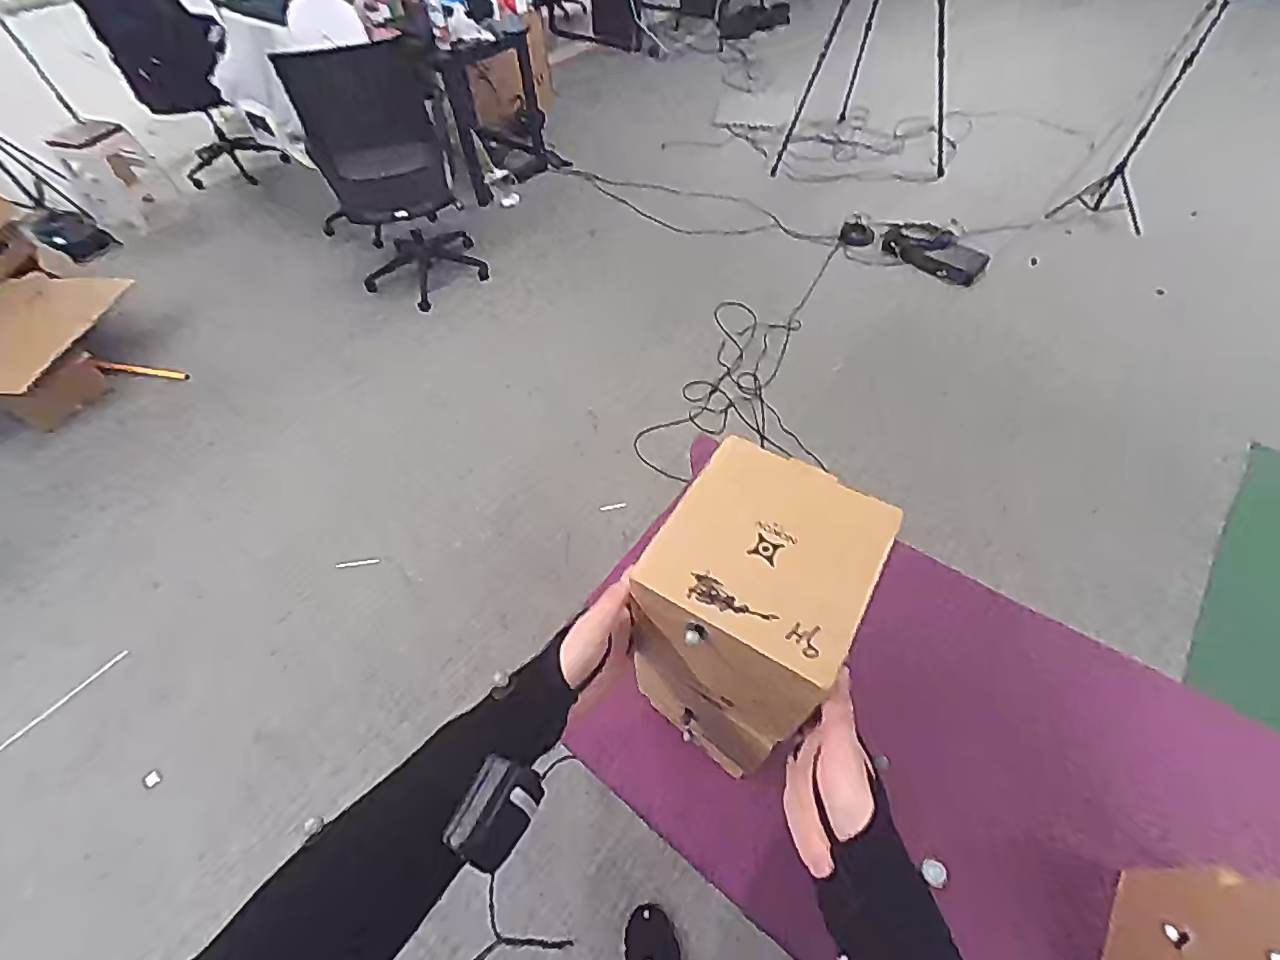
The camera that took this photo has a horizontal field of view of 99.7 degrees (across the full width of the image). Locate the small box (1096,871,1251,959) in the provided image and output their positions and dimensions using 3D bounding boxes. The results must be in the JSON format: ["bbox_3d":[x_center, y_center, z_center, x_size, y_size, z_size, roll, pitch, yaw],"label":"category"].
[{"bbox_3d":[0.618,0.551,0.560,0.168,0.176,0.179,33,61,25],"label":"small box"}]

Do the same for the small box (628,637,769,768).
[{"bbox_3d":[0.107,0.205,0.635,0.168,0.176,0.179,31,61,22],"label":"small box"}]

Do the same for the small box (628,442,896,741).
[{"bbox_3d":[0.103,0.103,0.499,0.168,0.176,0.179,26,58,21],"label":"small box"}]
